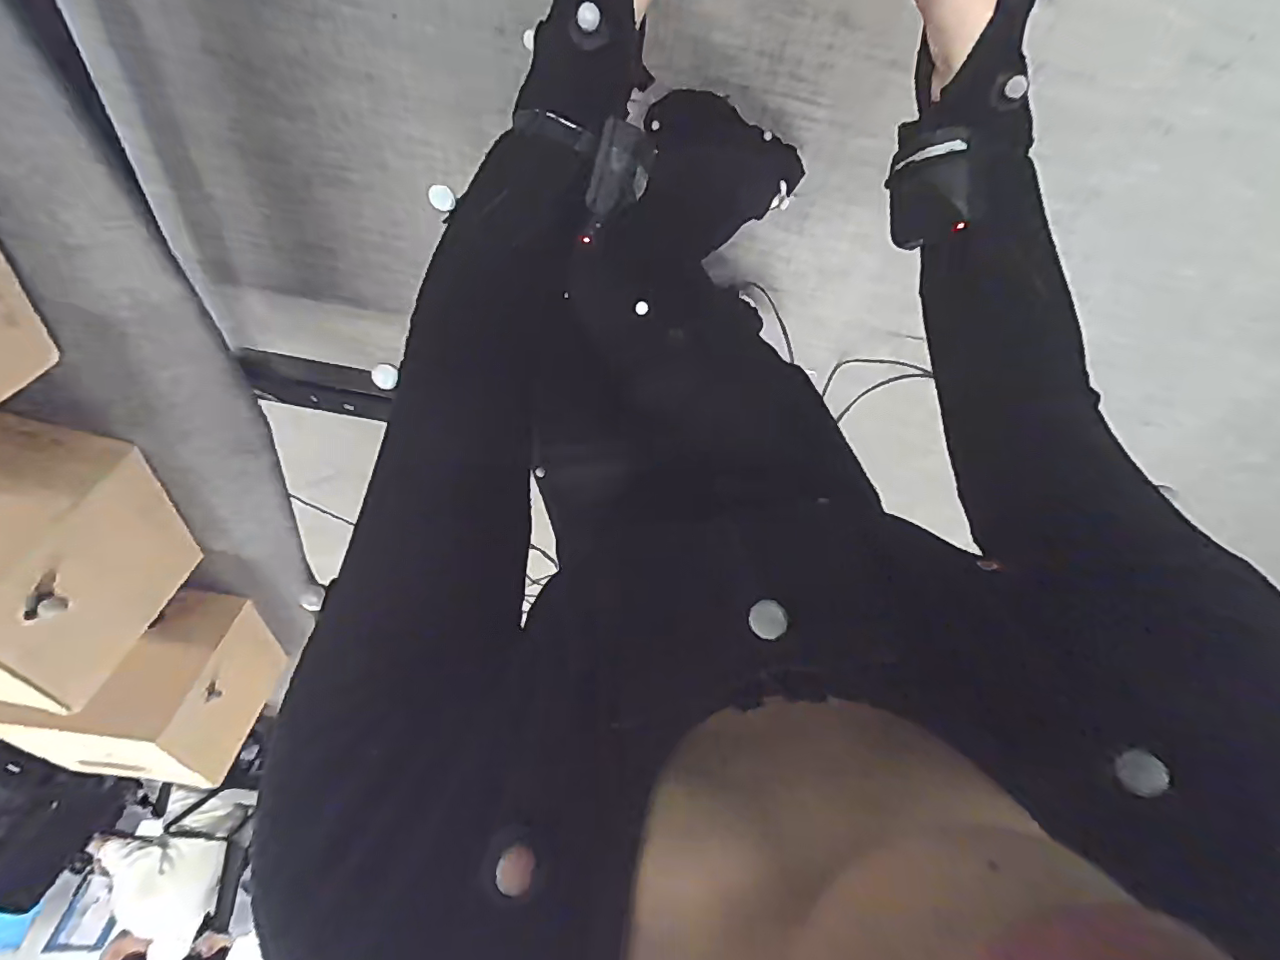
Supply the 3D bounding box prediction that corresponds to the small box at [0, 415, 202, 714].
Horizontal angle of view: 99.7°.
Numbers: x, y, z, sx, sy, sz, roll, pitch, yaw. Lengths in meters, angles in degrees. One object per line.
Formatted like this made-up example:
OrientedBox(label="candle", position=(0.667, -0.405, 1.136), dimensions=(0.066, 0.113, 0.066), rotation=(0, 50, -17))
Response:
OrientedBox(label="small box", position=(-0.517, 0.064, 0.441), dimensions=(0.168, 0.176, 0.179), rotation=(16, 137, -7))
